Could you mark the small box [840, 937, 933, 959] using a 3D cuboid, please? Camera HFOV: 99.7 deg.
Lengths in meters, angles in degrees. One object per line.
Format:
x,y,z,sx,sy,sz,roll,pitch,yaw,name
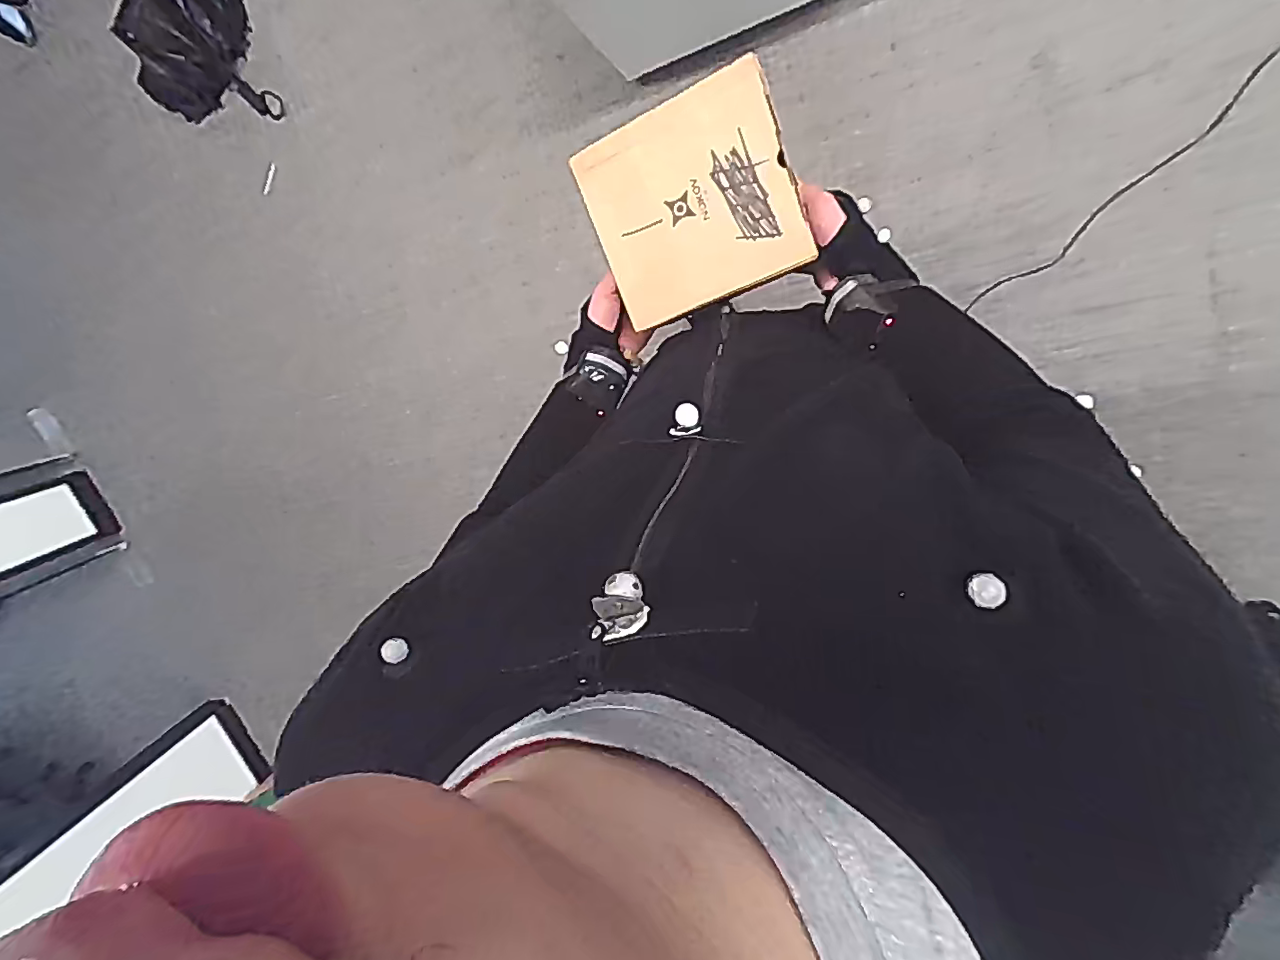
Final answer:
0.493,1.039,1.052,0.179,0.176,0.168,-4,110,16,small box
